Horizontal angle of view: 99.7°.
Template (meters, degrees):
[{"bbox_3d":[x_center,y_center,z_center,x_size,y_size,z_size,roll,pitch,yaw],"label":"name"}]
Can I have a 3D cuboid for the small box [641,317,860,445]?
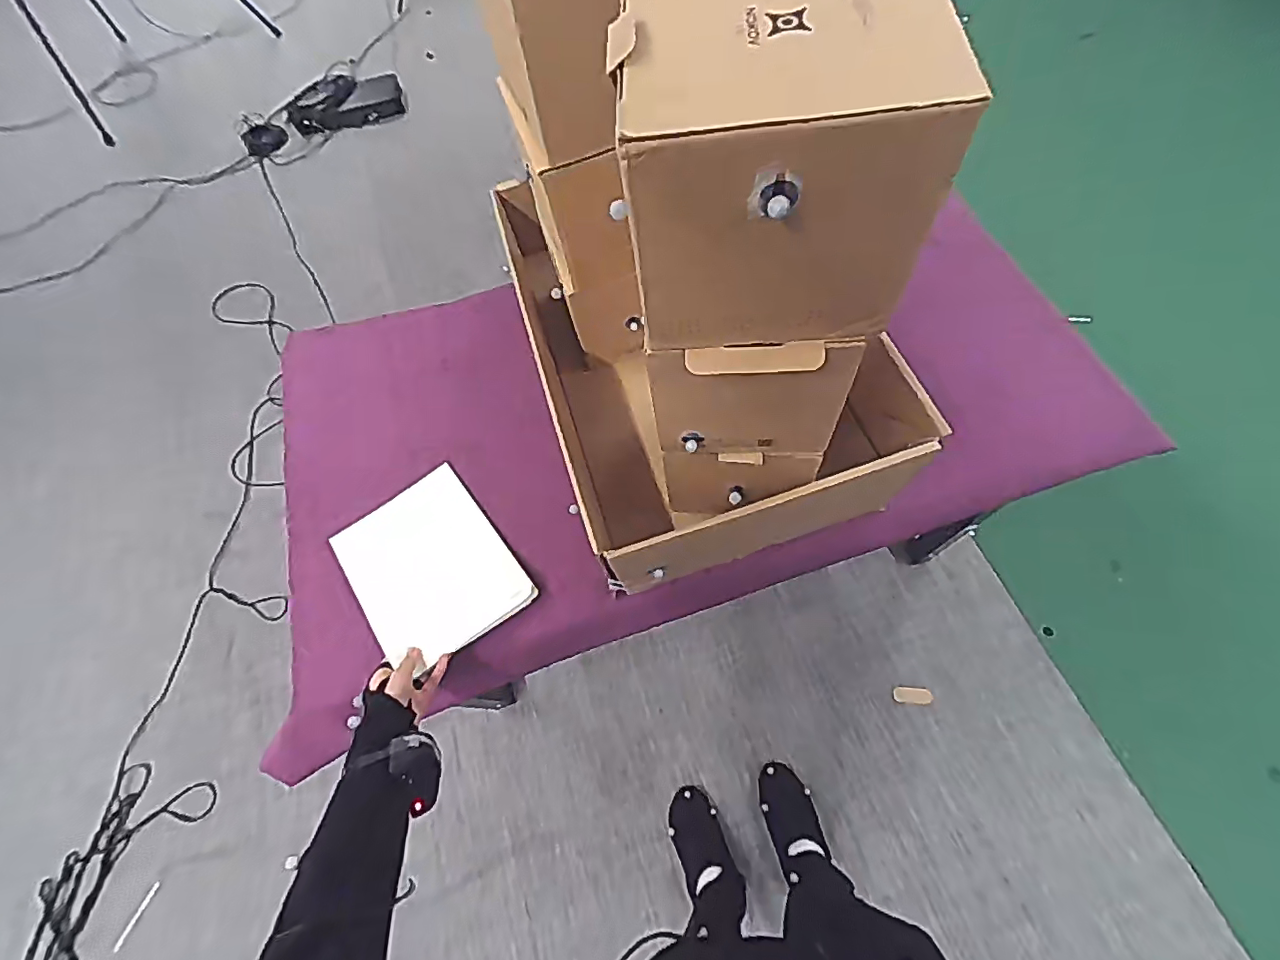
[{"bbox_3d":[0.097,-0.143,0.510,0.168,0.176,0.179,-1,64,8],"label":"small box"}]

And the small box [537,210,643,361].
[{"bbox_3d":[-0.032,-0.295,0.779,0.168,0.176,0.179,-18,67,-3],"label":"small box"}]

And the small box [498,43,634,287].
[{"bbox_3d":[-0.040,-0.358,0.631,0.179,0.176,0.168,-21,66,-4],"label":"small box"}]

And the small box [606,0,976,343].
[{"bbox_3d":[0.081,-0.209,0.363,0.179,0.176,0.168,-2,65,6],"label":"small box"}]
